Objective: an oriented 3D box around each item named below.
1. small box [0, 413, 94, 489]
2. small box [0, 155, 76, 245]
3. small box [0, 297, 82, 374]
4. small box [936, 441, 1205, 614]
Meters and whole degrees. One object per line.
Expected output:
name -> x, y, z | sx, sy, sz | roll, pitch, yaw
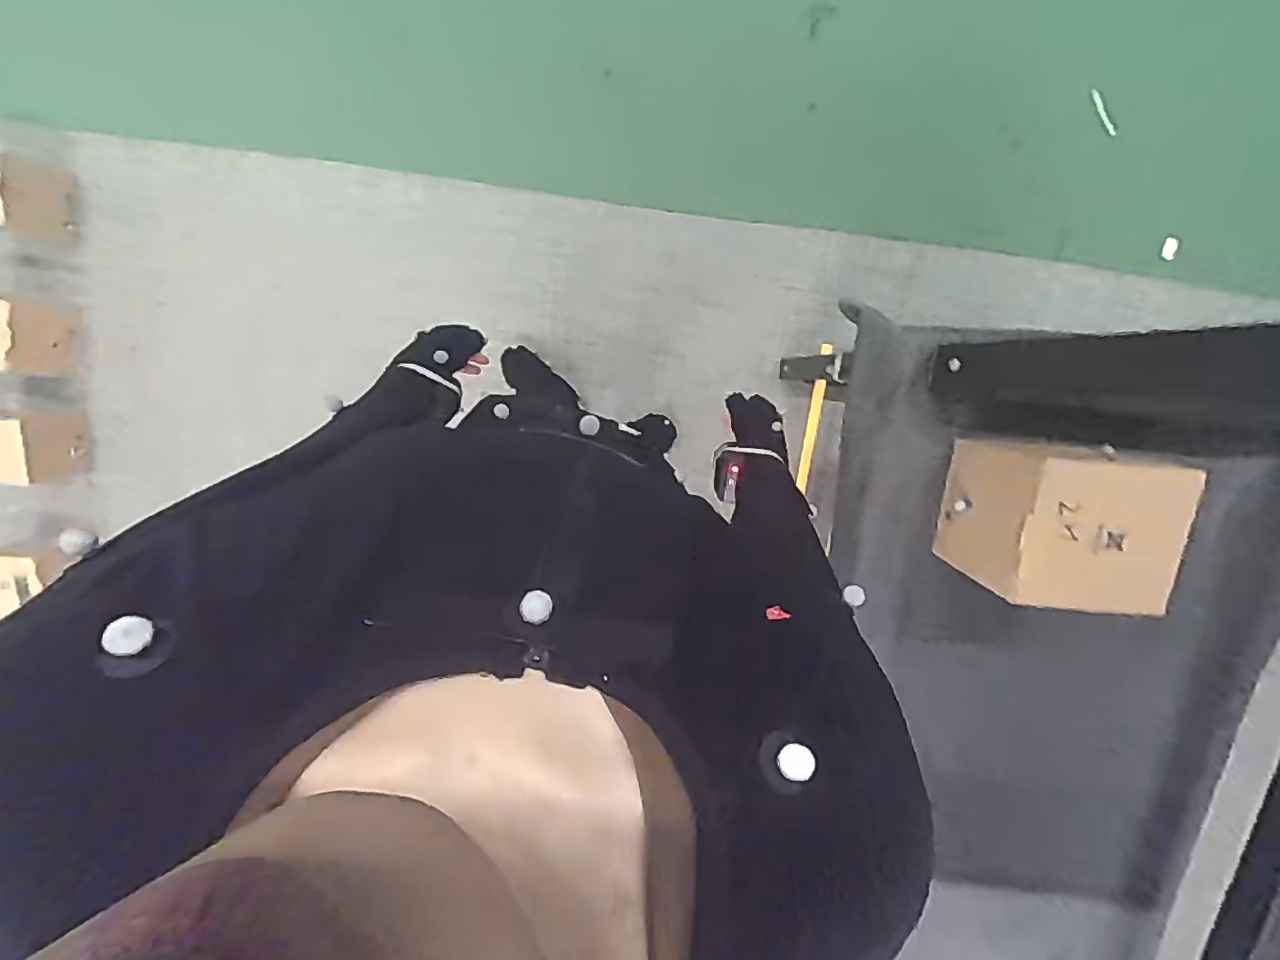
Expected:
small box -> -1.580, -0.080, 1.391 | 0.179, 0.176, 0.168 | 4, 103, -2
small box -> -1.495, -0.667, 1.275 | 0.179, 0.176, 0.168 | 9, 101, -1
small box -> -1.555, -0.359, 1.336 | 0.179, 0.176, 0.168 | 13, 101, -3
small box -> 0.506, 0.048, 0.665 | 0.179, 0.176, 0.168 | 5, 101, -1
